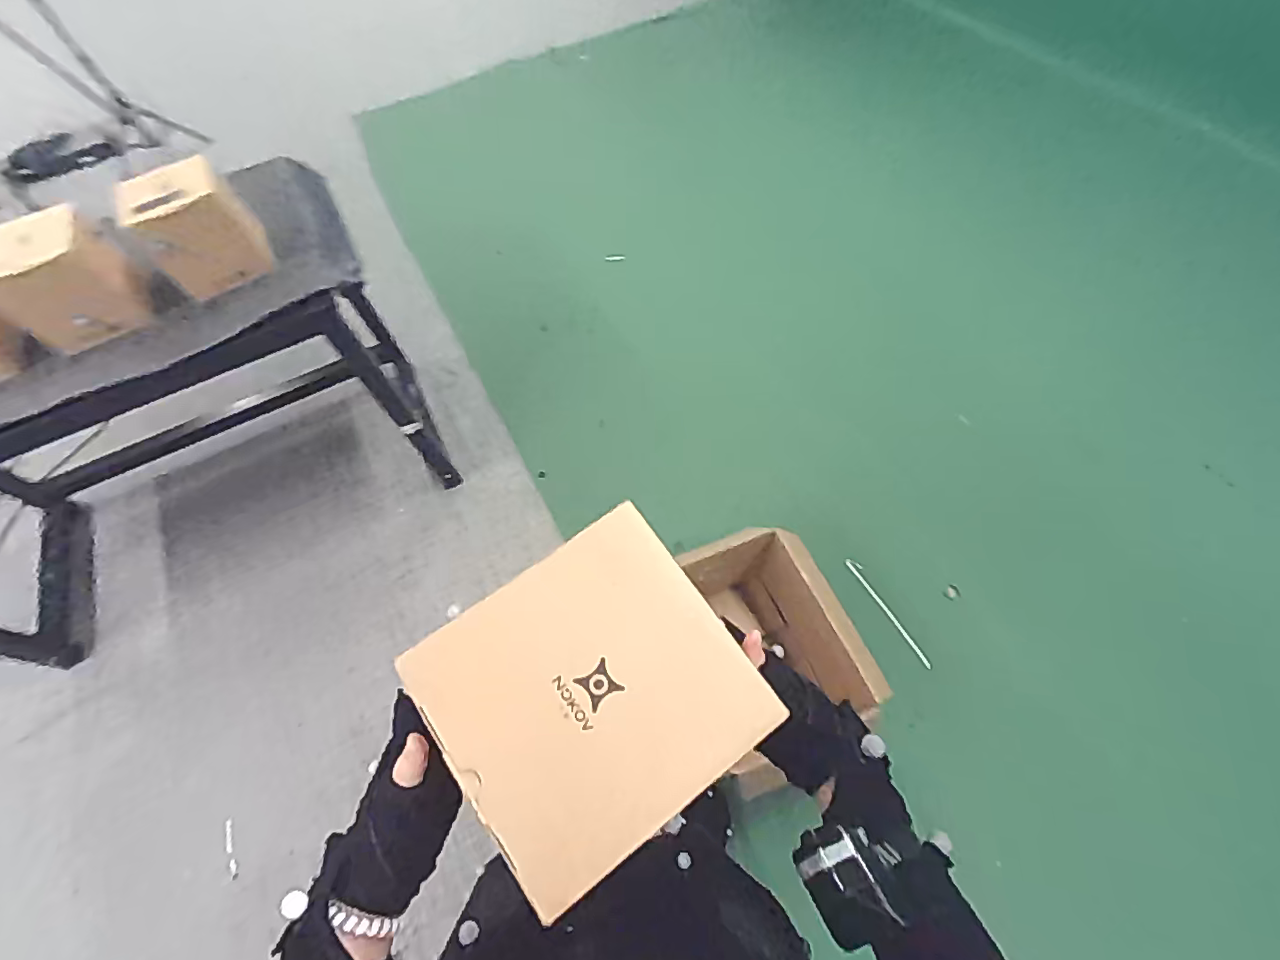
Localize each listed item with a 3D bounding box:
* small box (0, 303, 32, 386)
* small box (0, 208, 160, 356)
[{"bbox_3d":[-1.274,-0.261,0.978,0.168,0.176,0.179,-25,60,-10],"label":"small box"},{"bbox_3d":[-1.061,-0.370,1.022,0.168,0.176,0.179,-27,61,-10],"label":"small box"}]
